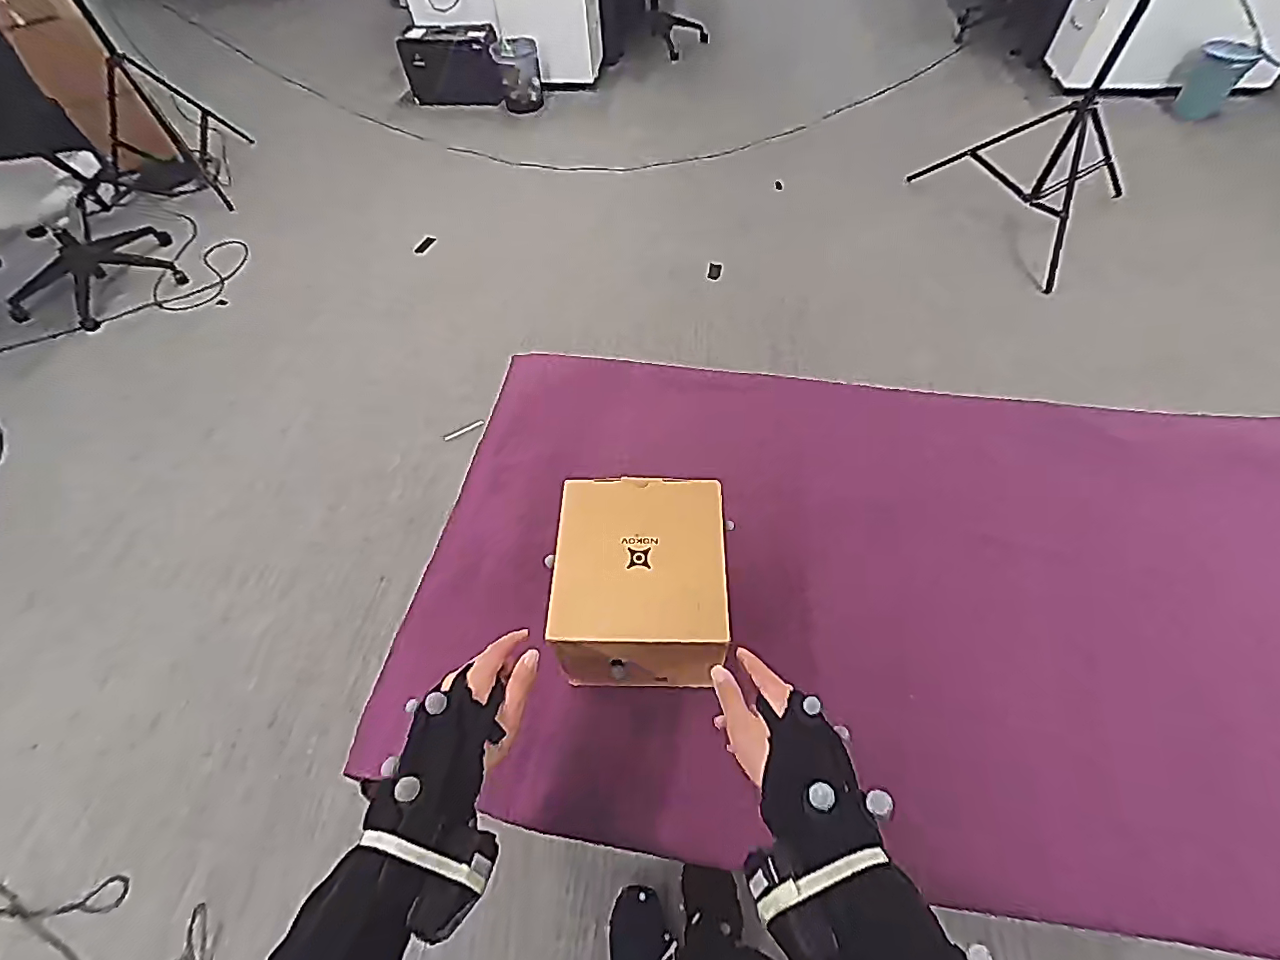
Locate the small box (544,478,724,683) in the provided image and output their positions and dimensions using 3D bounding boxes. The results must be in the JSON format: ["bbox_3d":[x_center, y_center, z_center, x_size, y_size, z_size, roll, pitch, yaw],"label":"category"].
[{"bbox_3d":[0.001,0.115,0.591,0.168,0.176,0.179,0,55,3],"label":"small box"}]
